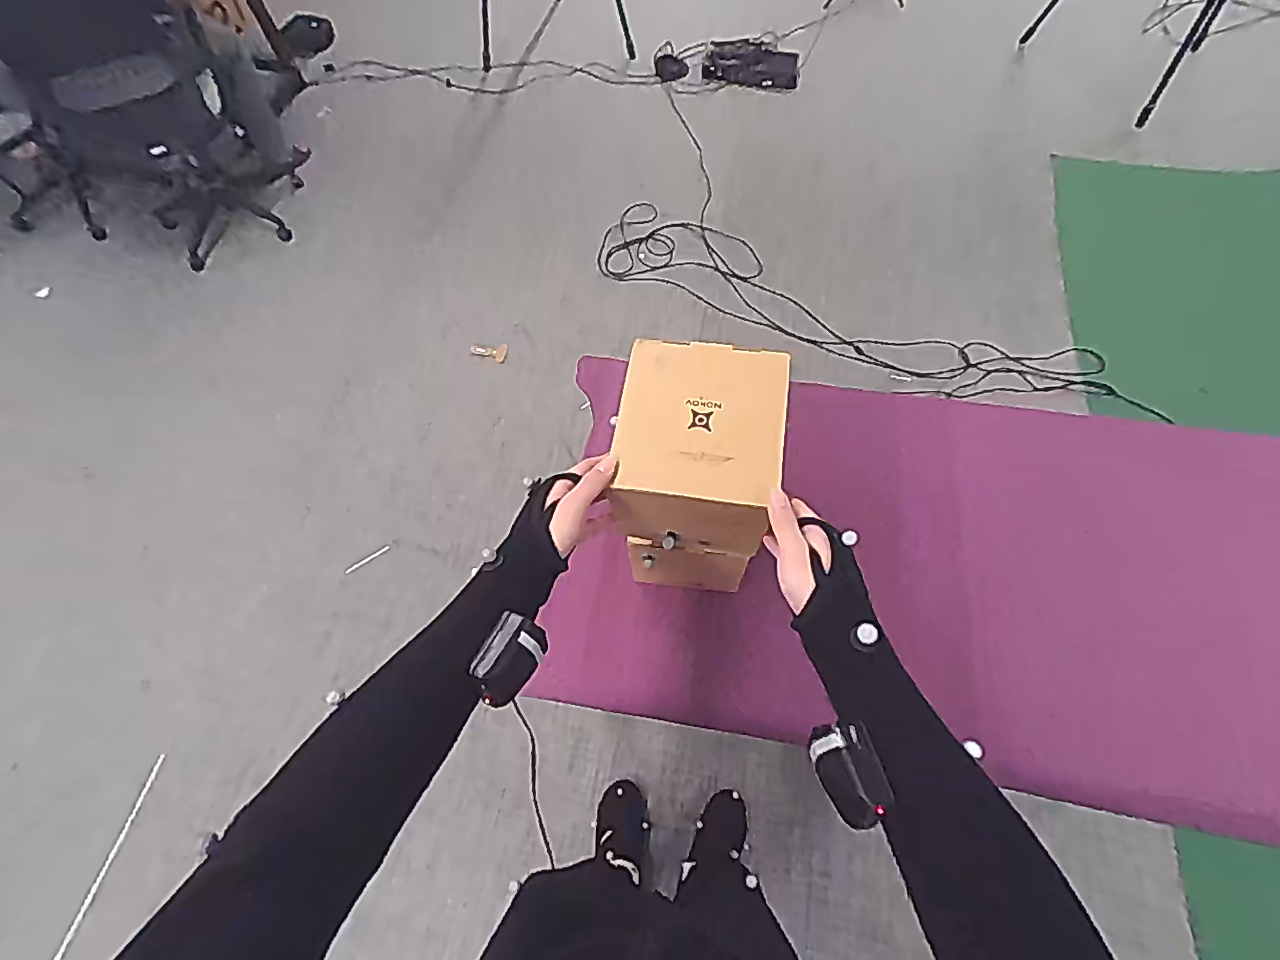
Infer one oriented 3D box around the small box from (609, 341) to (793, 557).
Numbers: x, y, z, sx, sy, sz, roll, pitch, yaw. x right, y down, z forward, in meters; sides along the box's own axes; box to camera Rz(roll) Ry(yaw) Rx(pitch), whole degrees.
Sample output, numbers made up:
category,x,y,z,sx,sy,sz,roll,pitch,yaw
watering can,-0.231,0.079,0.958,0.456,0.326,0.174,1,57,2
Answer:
category,x,y,z,sx,sy,sz,roll,pitch,yaw
small box,0.068,-0.028,0.611,0.168,0.176,0.179,8,68,7
